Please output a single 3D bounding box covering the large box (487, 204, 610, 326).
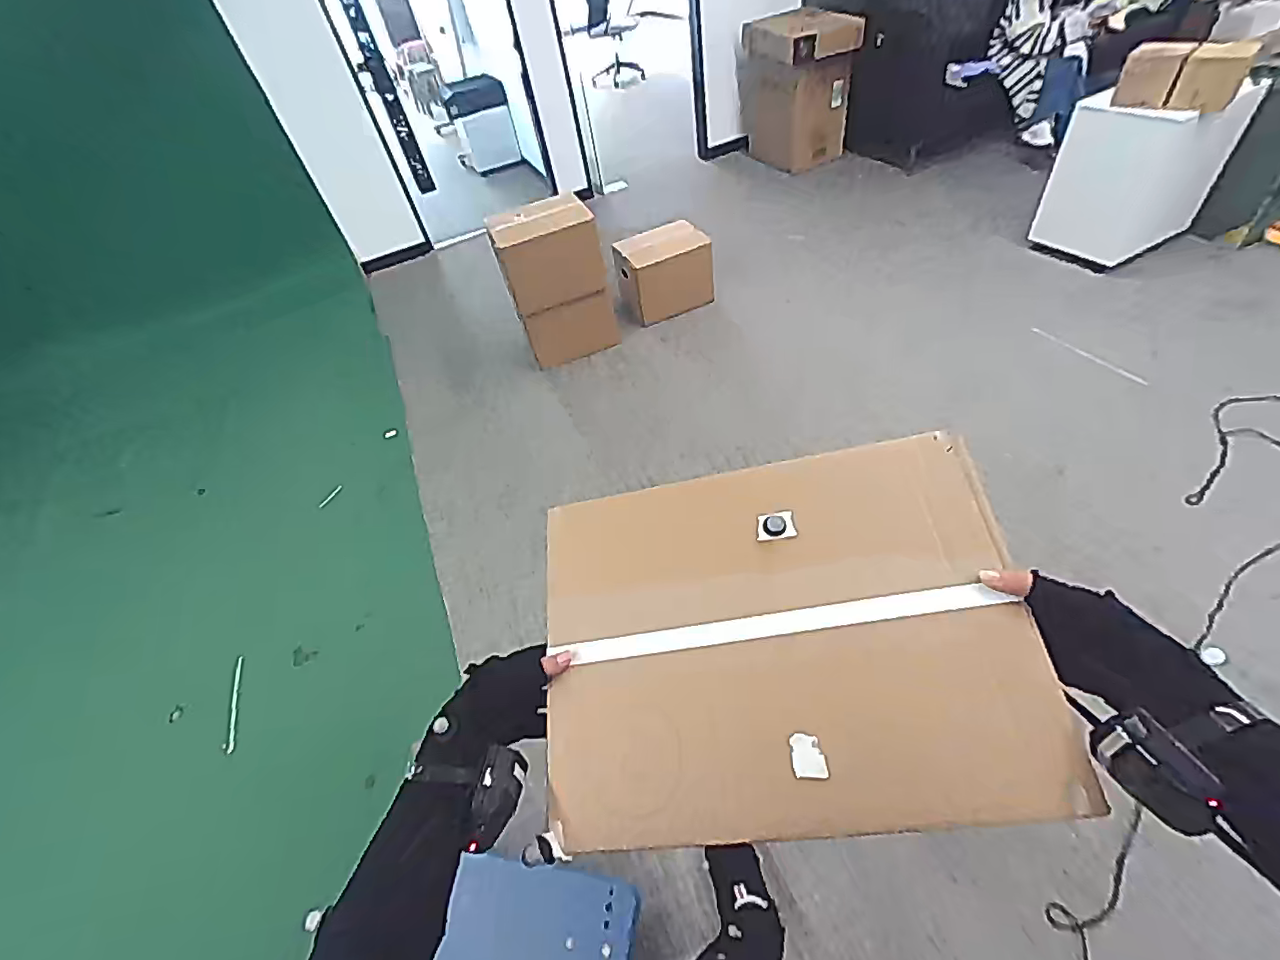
[{"bbox_3d":[-0.385,-0.925,2.326,0.408,0.320,0.320,-23,49,-8],"label":"large box"}]
